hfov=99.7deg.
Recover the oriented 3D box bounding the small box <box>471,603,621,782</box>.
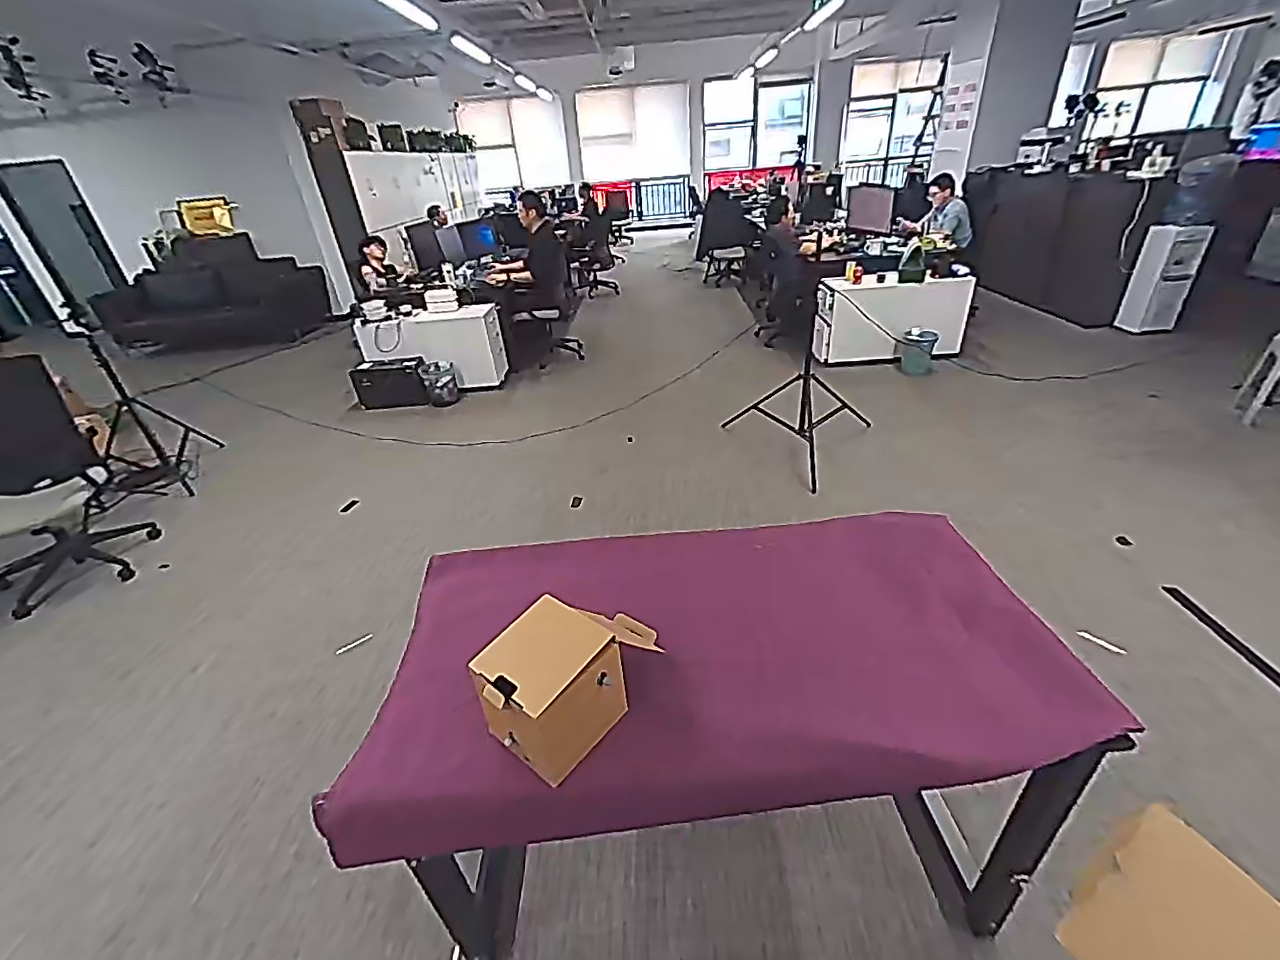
[{"bbox_3d":[-0.145,0.343,0.889,0.168,0.176,0.179,18,38,36],"label":"small box"}]
